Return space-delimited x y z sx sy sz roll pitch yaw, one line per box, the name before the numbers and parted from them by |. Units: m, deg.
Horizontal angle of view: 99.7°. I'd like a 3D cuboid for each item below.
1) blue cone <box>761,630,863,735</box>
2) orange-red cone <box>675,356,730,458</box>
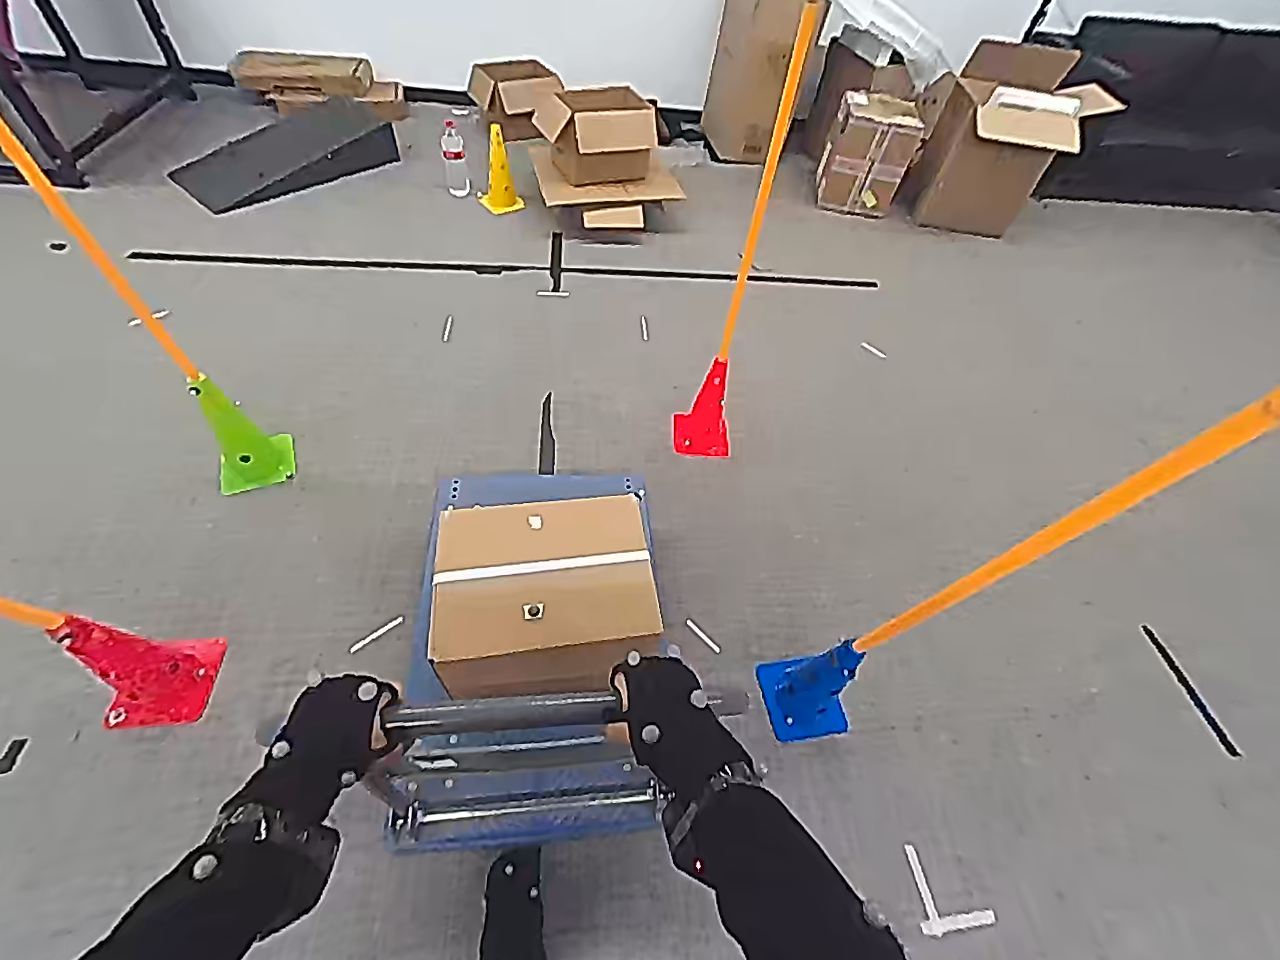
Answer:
blue cone | 0.443 0.459 1.288 0.193 0.380 0.192 -3 52 -10
orange-red cone | 0.243 -0.265 1.803 0.199 0.360 0.198 6 53 -4
